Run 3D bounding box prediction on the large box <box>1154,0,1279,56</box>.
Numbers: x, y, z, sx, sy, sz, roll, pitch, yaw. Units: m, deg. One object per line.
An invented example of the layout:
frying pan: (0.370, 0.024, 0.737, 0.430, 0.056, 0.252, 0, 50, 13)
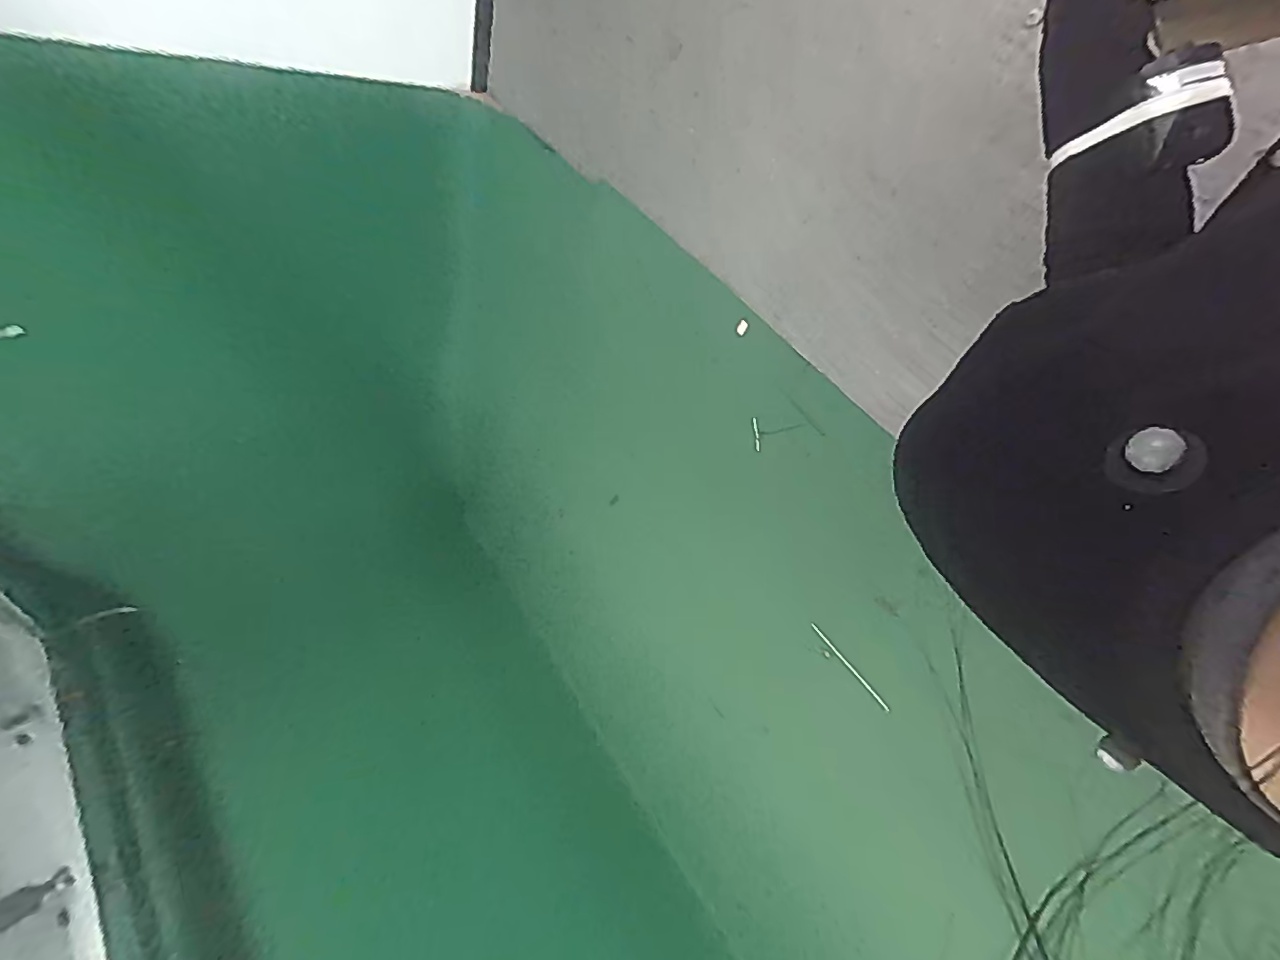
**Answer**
large box: (0.554, -0.472, 0.256, 0.408, 0.320, 0.320, 12, 119, 43)
